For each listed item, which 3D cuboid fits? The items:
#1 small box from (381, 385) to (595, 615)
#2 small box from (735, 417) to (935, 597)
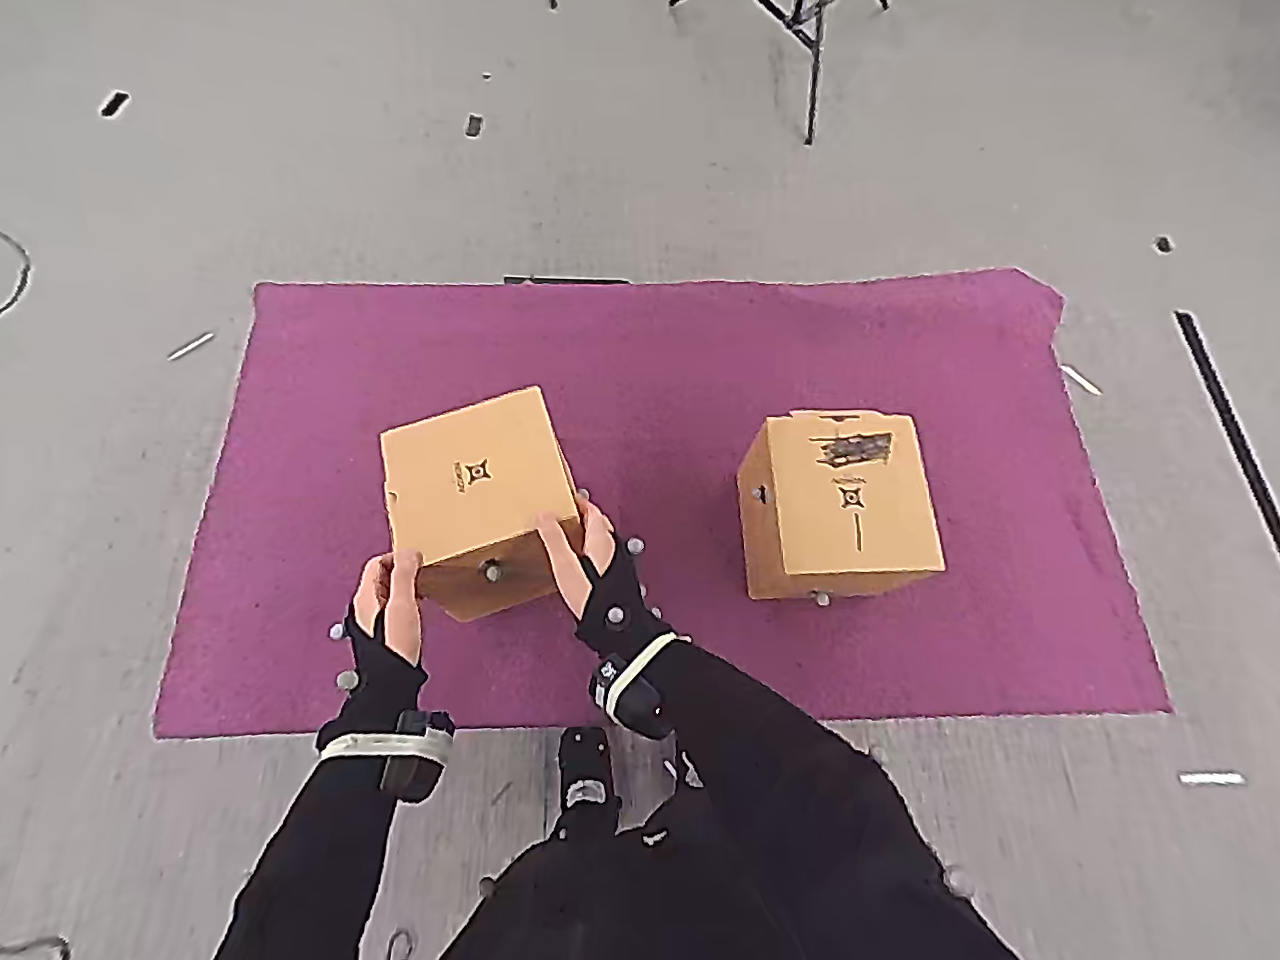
[{"bbox_3d":[-0.156,0.029,0.601,0.179,0.176,0.168,-19,61,-5],"label":"small box"},{"bbox_3d":[0.214,0.039,0.650,0.168,0.176,0.179,-2,70,-2],"label":"small box"}]
